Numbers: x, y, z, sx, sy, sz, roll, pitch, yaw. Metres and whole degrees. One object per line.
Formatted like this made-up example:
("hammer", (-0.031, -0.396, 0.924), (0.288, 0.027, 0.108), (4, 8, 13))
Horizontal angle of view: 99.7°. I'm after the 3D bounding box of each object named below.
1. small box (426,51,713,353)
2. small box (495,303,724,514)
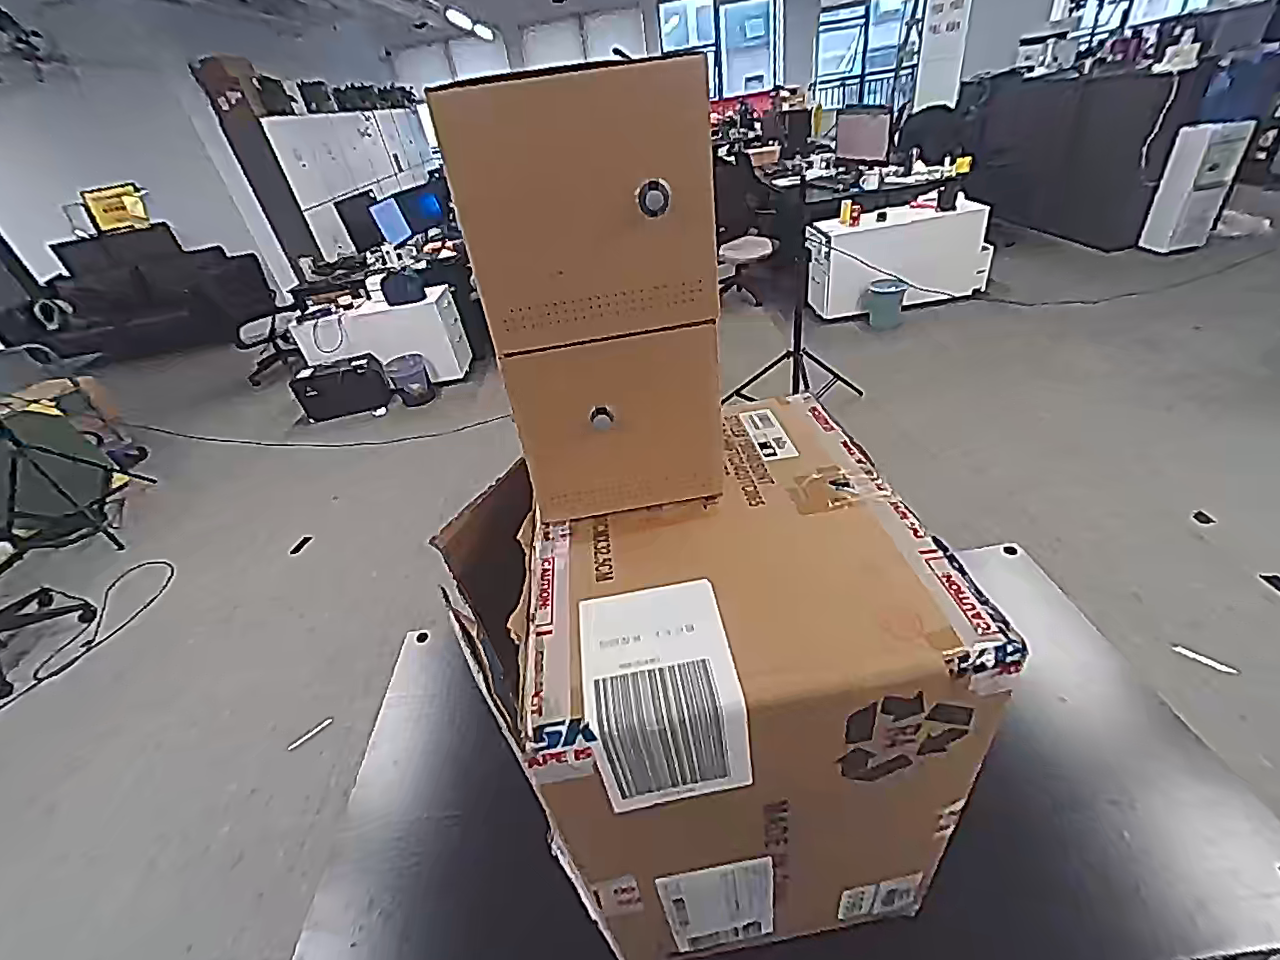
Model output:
("small box", (-0.044, -0.217, 0.433), (0.179, 0.176, 0.168), (-12, 32, -3))
("small box", (-0.024, -0.084, 0.526), (0.179, 0.176, 0.168), (-10, 33, -1))
